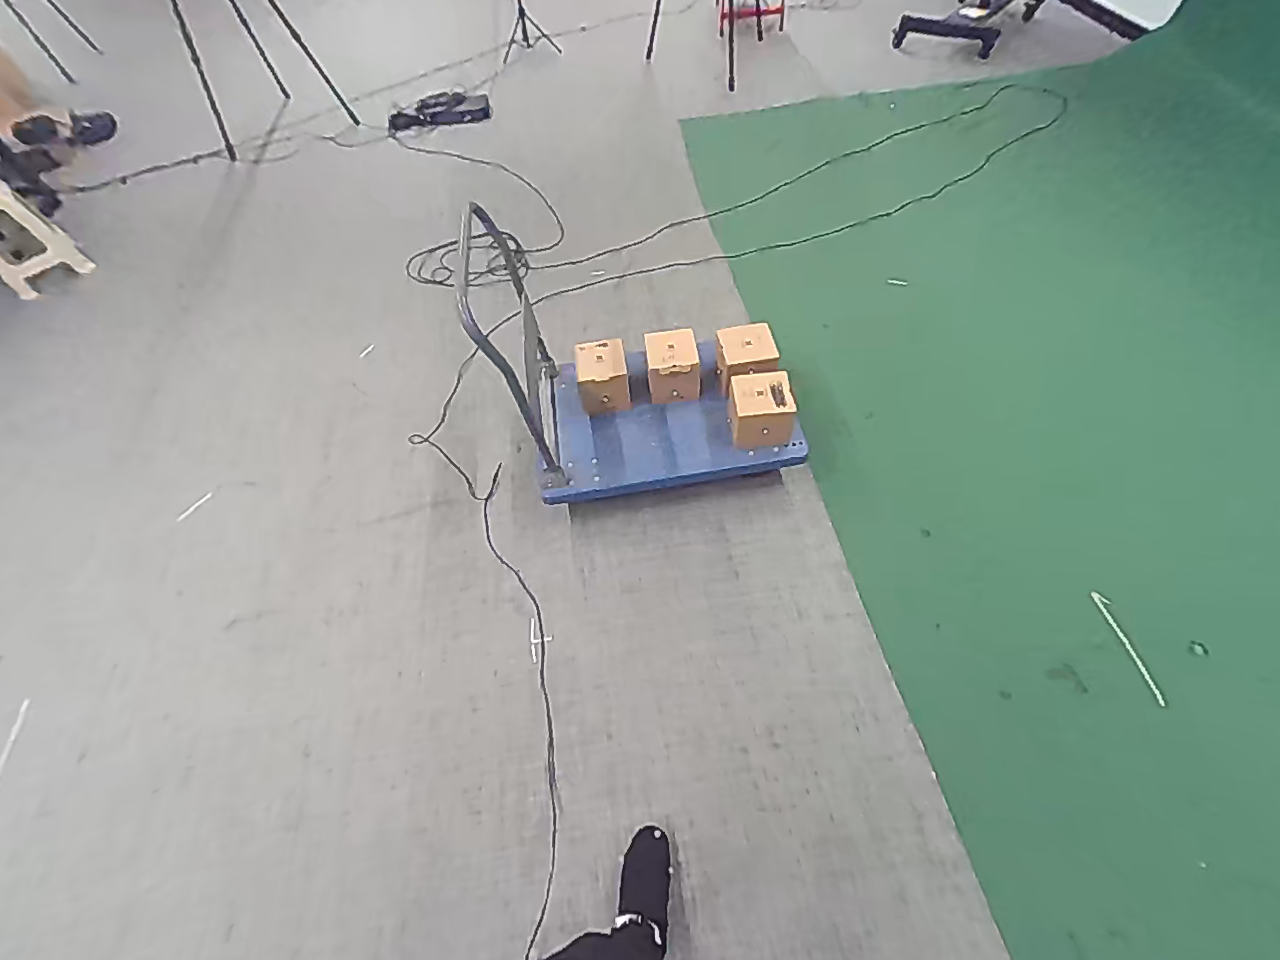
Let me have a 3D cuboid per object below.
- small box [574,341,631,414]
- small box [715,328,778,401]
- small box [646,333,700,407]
[{"bbox_3d":[-0.126,-0.340,1.832,0.168,0.176,0.179,-7,57,-1],"label":"small box"},{"bbox_3d":[0.353,-0.385,1.827,0.179,0.176,0.168,-8,57,0],"label":"small box"},{"bbox_3d":[0.108,-0.373,1.837,0.168,0.176,0.179,-6,57,1],"label":"small box"}]
